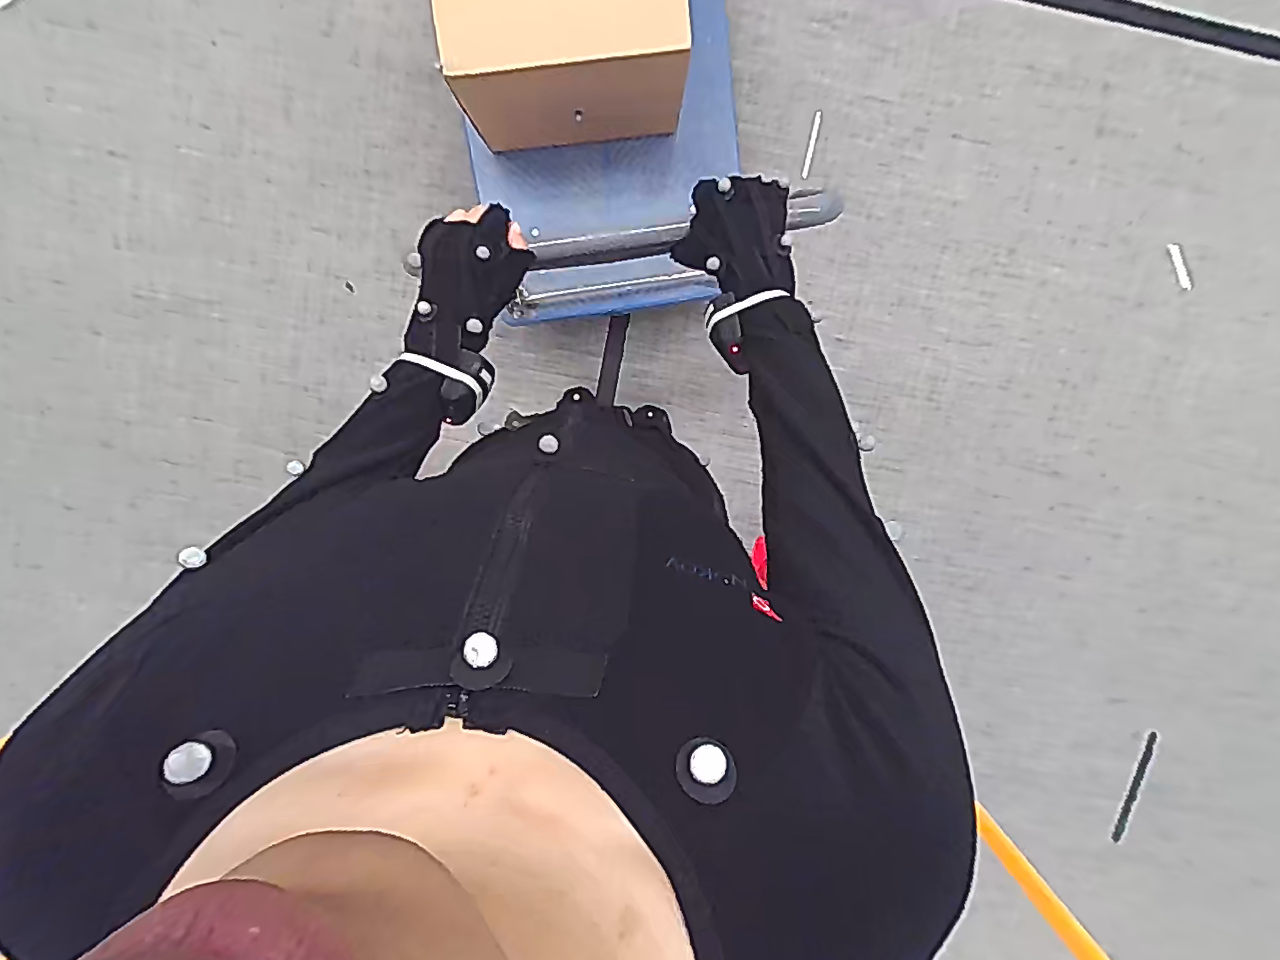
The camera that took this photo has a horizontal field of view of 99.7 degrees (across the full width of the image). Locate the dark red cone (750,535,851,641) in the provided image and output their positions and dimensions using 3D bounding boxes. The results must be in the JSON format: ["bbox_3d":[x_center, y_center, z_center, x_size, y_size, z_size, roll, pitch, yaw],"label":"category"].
[{"bbox_3d":[0.420,0.290,1.335,0.201,0.394,0.202,10,101,-4],"label":"dark red cone"}]

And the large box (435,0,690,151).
[{"bbox_3d":[-0.132,-0.848,0.989,0.408,0.320,0.320,-6,101,2],"label":"large box"}]
